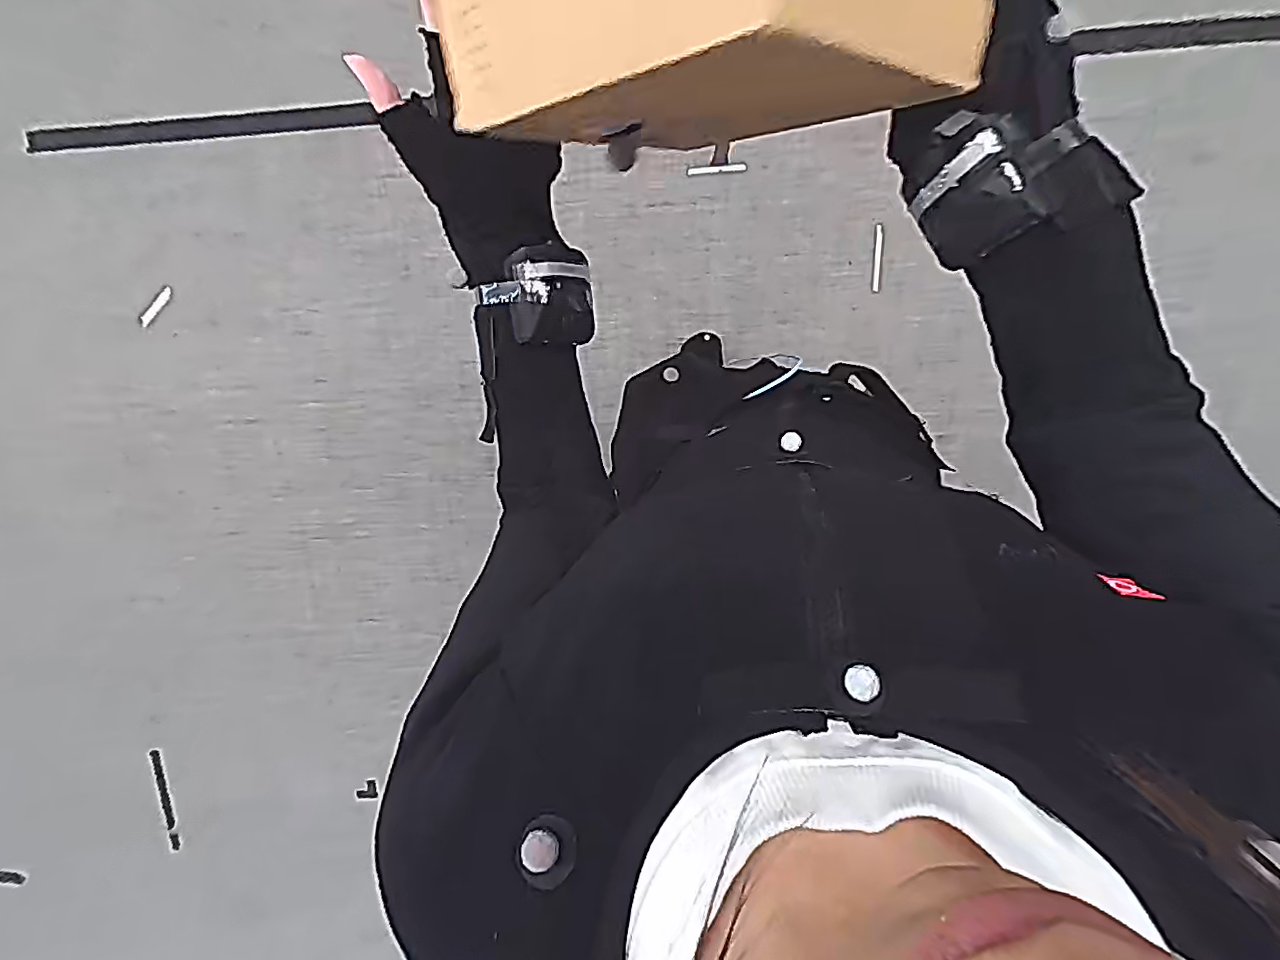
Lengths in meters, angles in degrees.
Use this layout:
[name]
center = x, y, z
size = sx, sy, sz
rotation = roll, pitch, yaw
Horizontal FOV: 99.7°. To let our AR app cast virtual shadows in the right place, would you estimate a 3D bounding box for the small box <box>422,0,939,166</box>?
[small box]
center = 0.012, -0.247, 0.226
size = 0.176, 0.168, 0.179
rotation = 19, 124, 43
